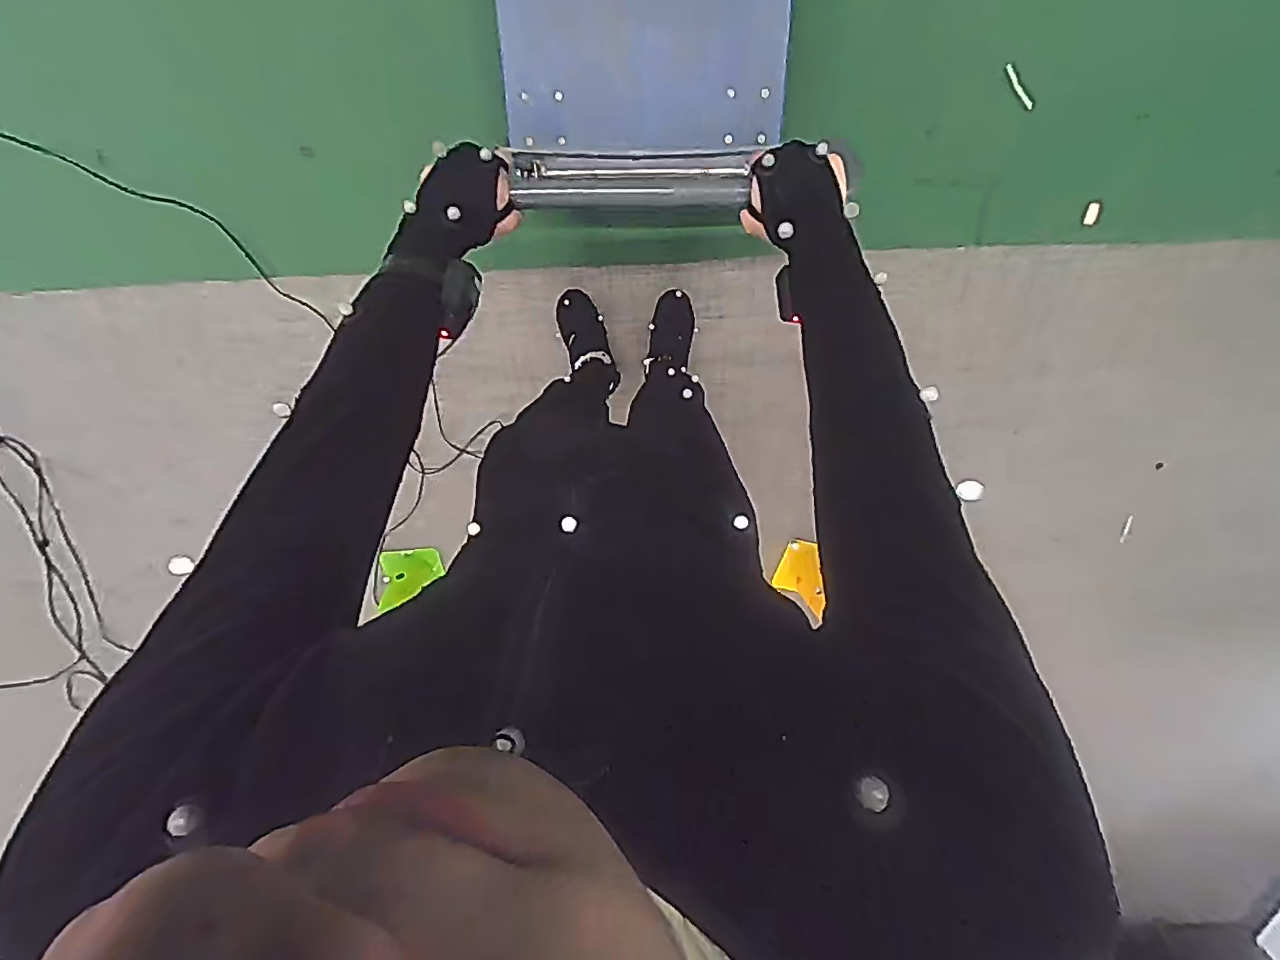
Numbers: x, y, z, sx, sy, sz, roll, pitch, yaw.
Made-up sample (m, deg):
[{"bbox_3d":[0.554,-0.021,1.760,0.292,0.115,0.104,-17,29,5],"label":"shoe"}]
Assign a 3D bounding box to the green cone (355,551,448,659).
[{"bbox_3d":[-0.769,0.403,1.670,0.202,0.368,0.200,-5,116,4],"label":"green cone"}]
